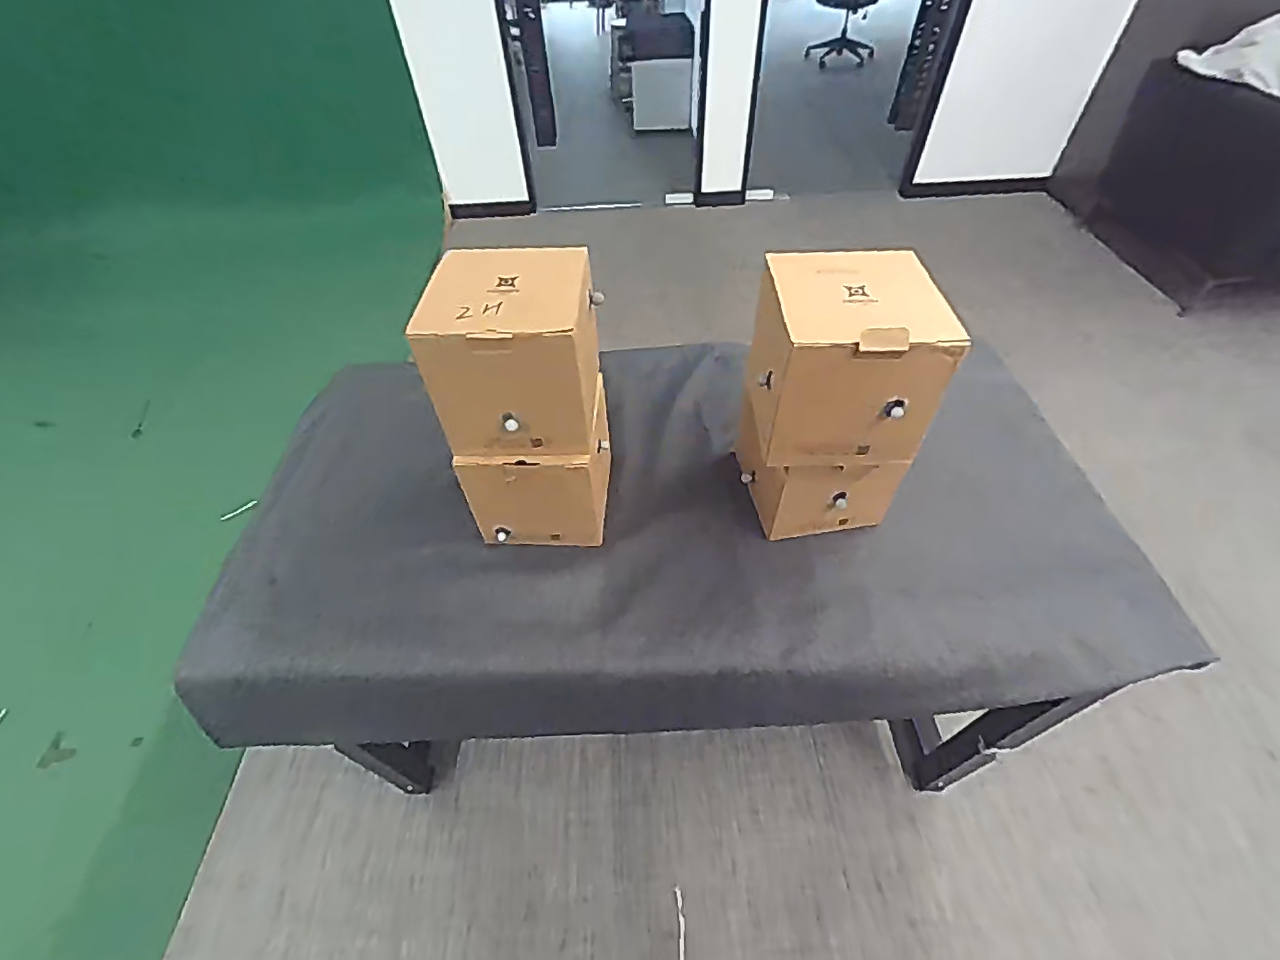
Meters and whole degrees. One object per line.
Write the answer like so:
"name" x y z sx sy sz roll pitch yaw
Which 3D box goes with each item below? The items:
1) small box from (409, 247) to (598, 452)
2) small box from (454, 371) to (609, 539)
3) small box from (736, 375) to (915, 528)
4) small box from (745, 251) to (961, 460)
"small box" -0.141 -0.153 0.636 0.168 0.176 0.179 -1 49 2
"small box" -0.134 -0.033 0.750 0.168 0.176 0.179 1 48 3
"small box" 0.239 -0.048 0.749 0.168 0.176 0.179 -8 50 -5
"small box" 0.217 -0.136 0.611 0.168 0.176 0.179 0 48 1
